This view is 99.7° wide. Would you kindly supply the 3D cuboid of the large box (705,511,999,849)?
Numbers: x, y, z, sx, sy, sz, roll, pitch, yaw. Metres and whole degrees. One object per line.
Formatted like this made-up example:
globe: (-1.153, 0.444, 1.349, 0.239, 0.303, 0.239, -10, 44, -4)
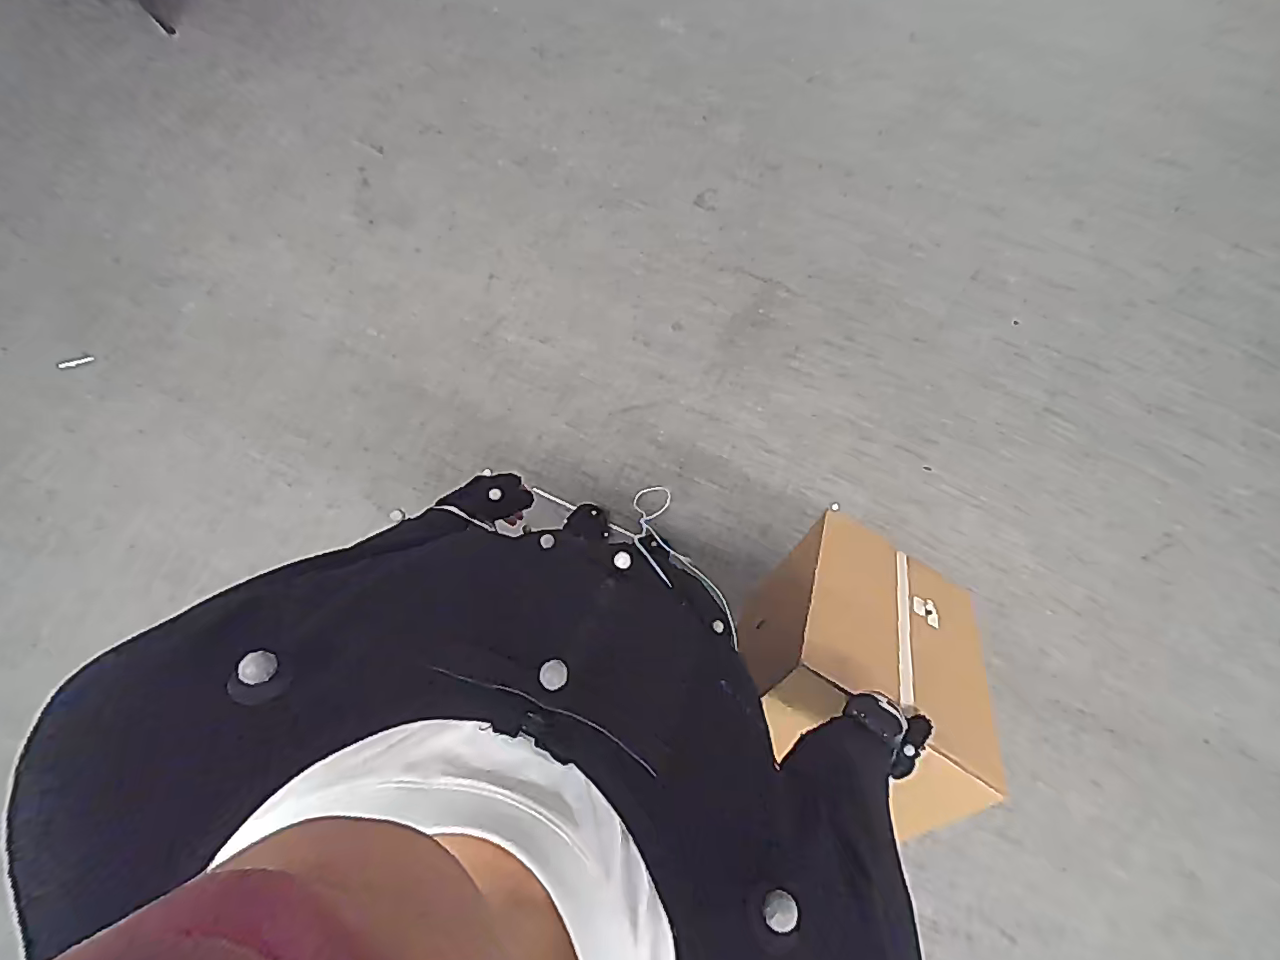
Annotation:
large box: (0.357, 0.337, 0.967, 0.320, 0.408, 0.320, 33, 127, 4)
